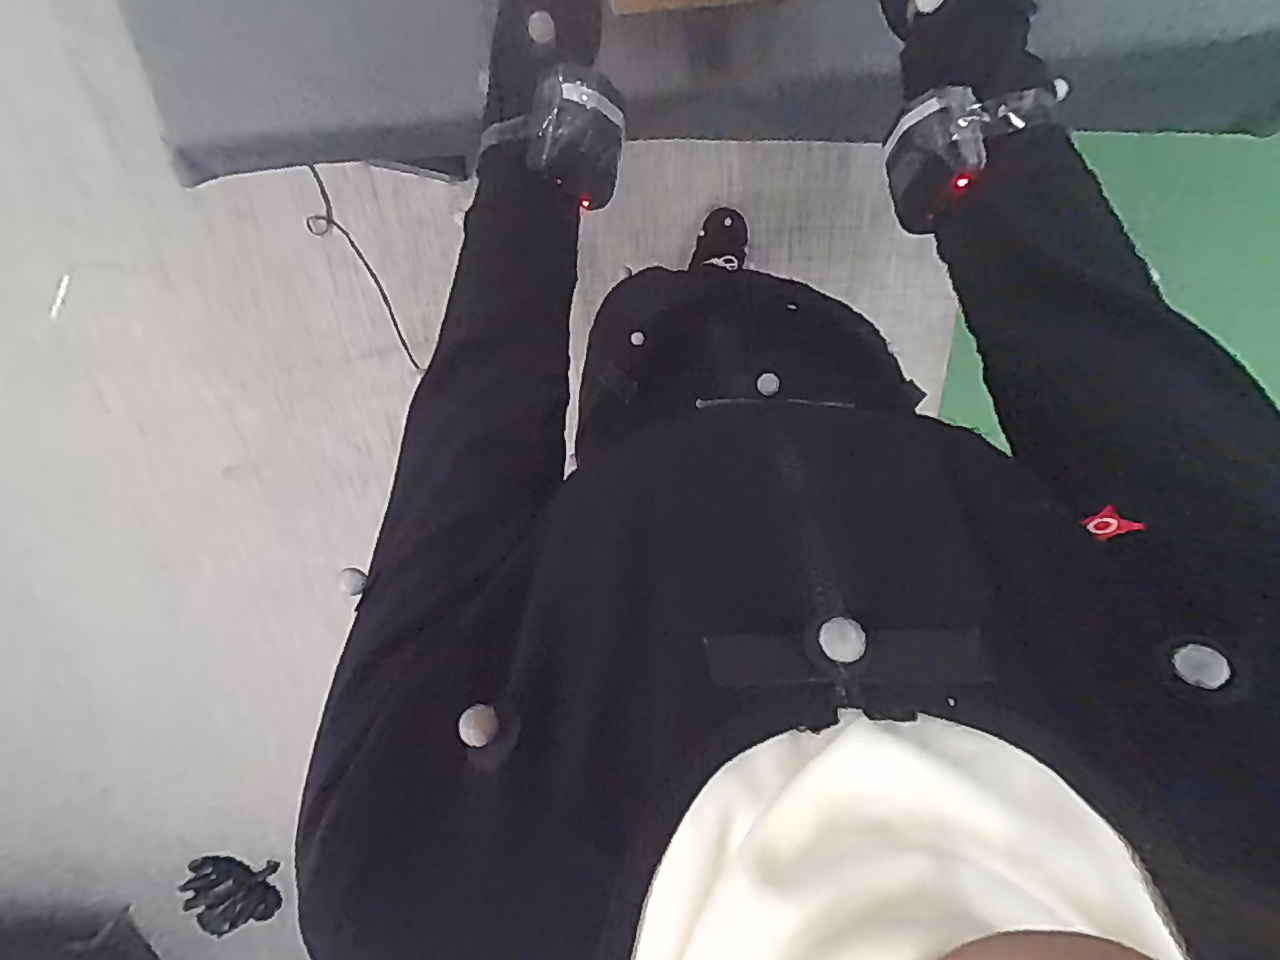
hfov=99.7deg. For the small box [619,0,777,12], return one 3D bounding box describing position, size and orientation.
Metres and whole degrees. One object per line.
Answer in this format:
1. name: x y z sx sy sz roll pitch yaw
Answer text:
1. small box: 0.056 -0.485 0.402 0.179 0.176 0.168 -2 114 4
